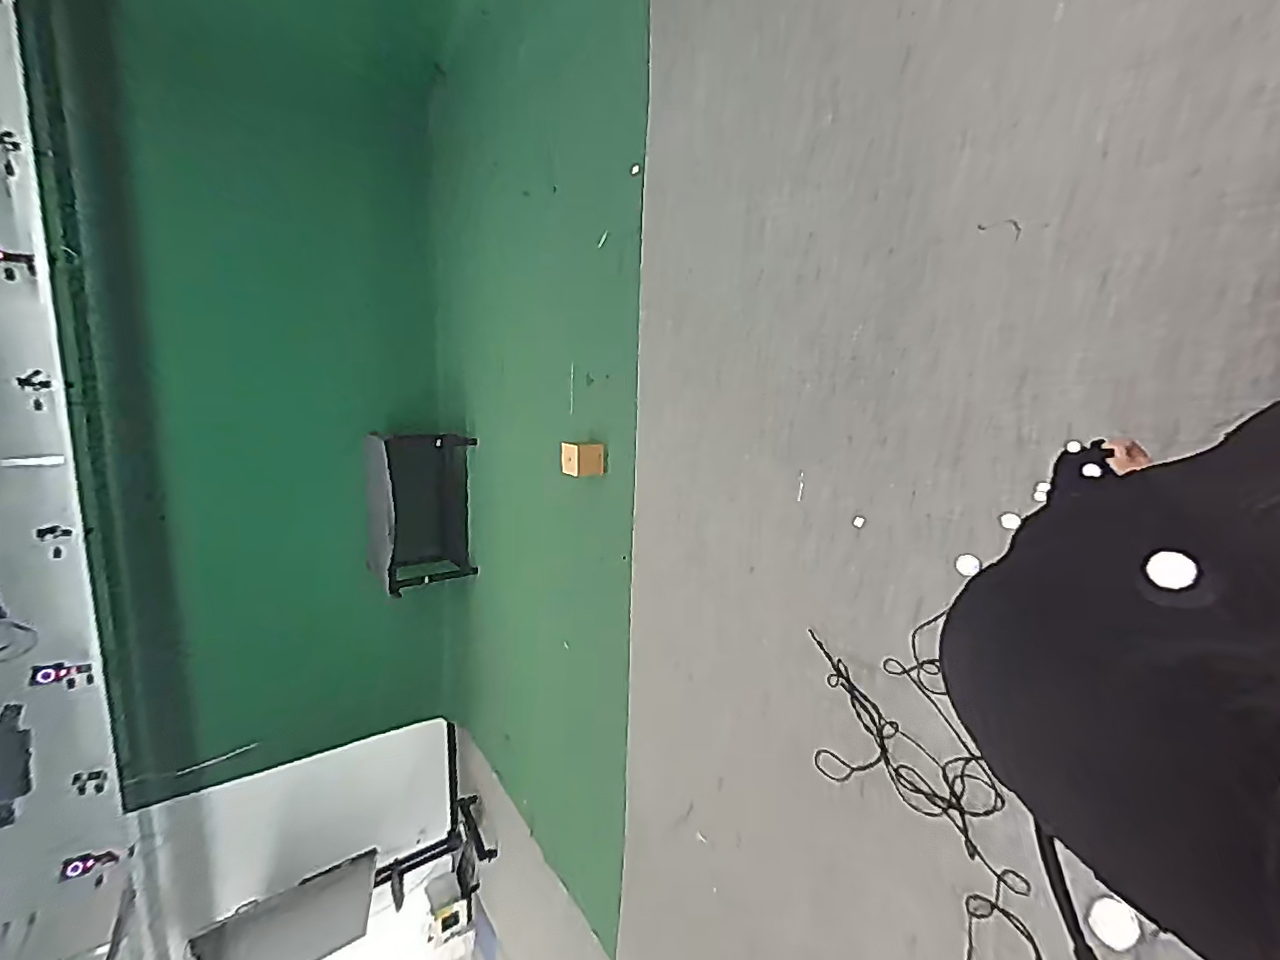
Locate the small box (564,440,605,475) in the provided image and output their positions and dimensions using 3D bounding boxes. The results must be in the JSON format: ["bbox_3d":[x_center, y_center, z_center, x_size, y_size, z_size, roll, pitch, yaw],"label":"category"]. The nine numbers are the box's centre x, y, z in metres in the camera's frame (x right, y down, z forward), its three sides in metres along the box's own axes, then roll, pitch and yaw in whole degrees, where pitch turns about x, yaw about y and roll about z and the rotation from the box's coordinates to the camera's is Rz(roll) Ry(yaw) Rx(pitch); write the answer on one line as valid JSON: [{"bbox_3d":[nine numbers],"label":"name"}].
[{"bbox_3d":[-0.300,-0.127,2.936,0.179,0.176,0.168,14,106,54],"label":"small box"}]
